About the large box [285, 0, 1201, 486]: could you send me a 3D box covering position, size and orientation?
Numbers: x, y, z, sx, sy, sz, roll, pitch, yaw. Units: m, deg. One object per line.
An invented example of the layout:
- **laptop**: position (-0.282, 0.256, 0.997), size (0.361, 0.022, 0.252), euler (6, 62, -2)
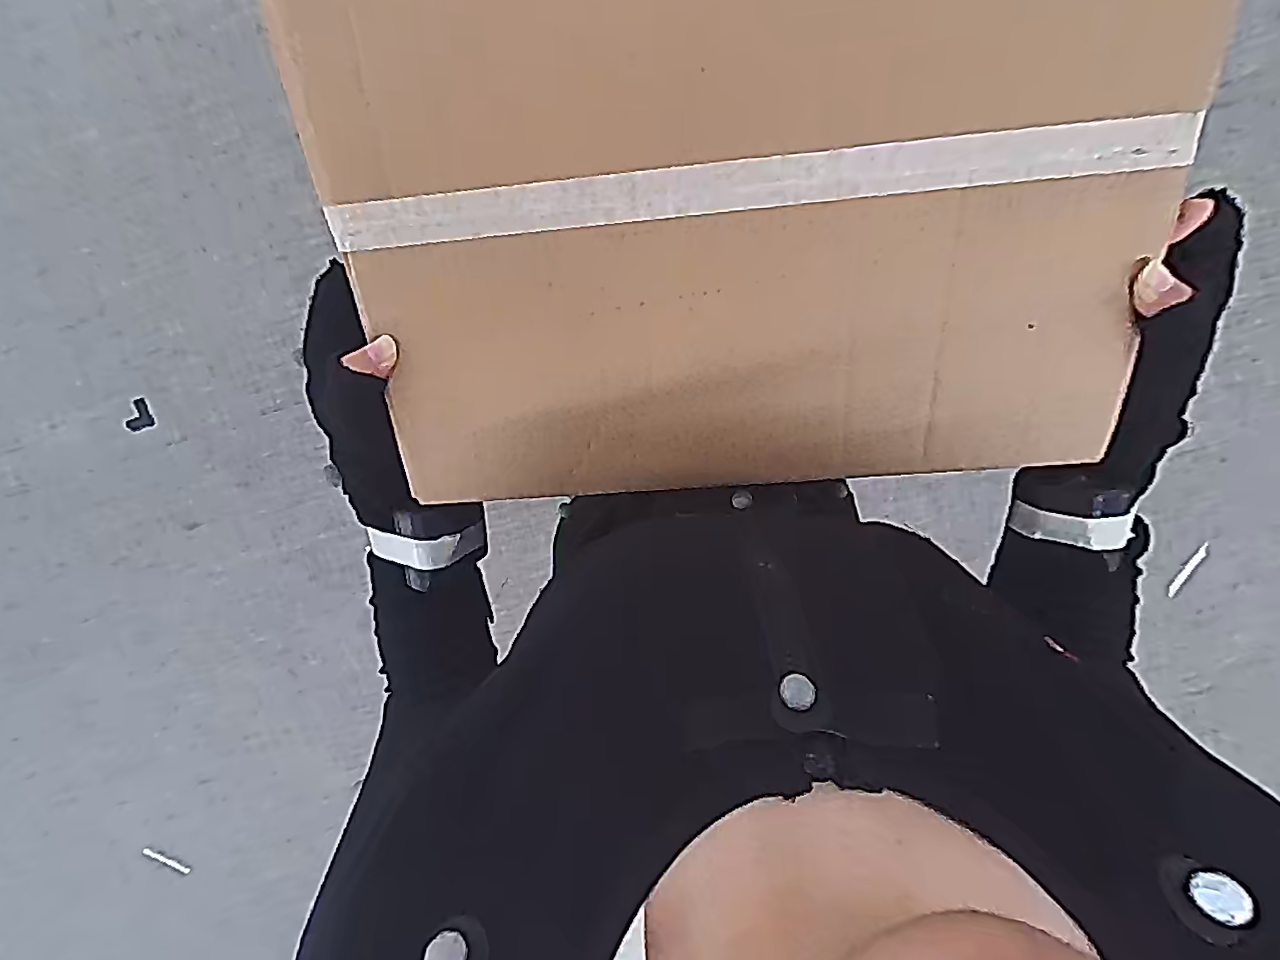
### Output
- **large box**: position (0.049, -0.211, 0.401), size (0.408, 0.320, 0.320), euler (-4, 116, 4)
